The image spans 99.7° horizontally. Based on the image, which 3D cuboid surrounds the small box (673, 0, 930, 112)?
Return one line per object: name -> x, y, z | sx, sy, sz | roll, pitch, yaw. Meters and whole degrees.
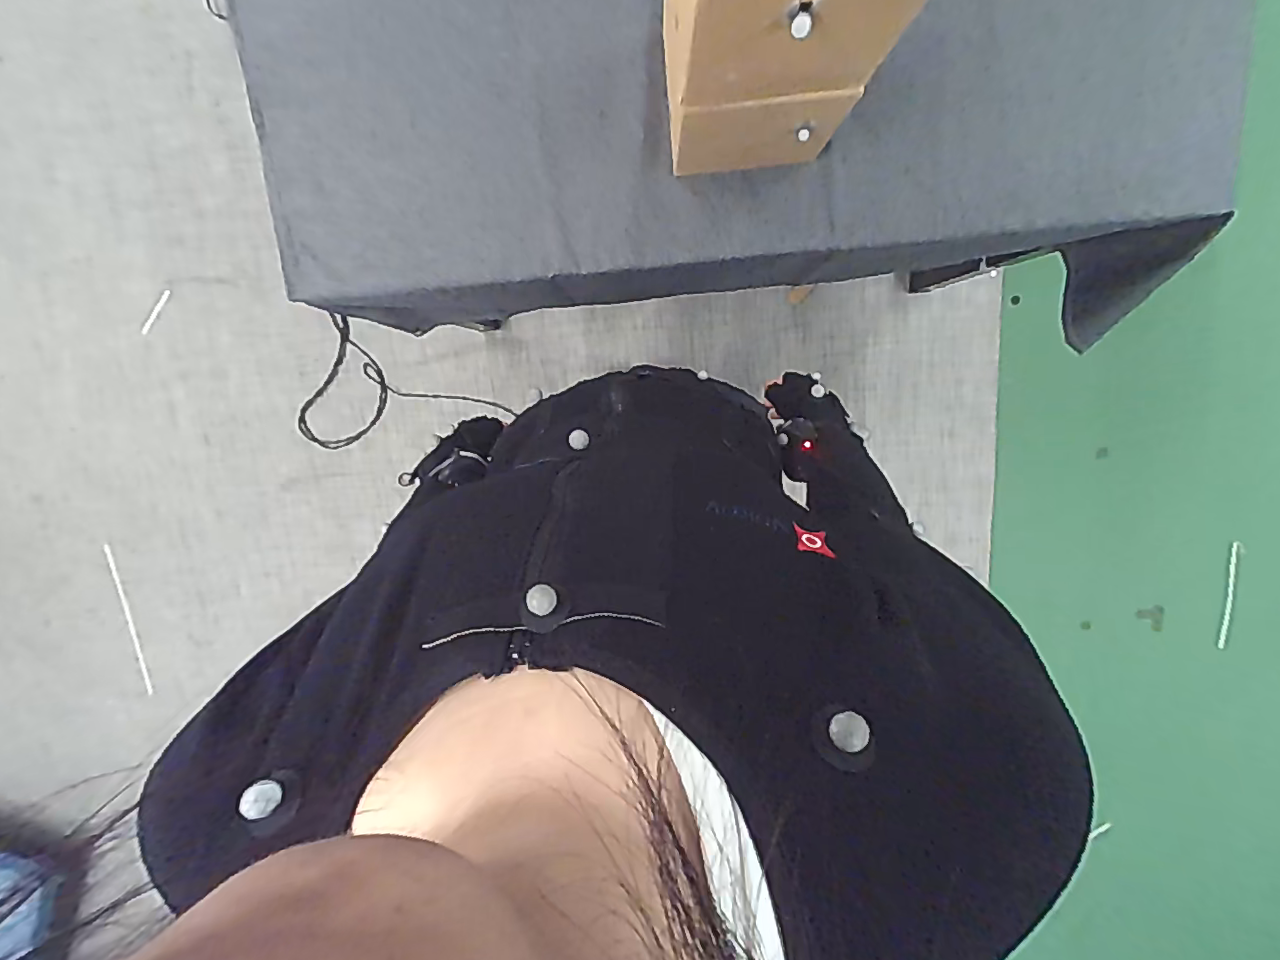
small box -> 0.118, -0.425, 0.425 | 0.179, 0.176, 0.168 | -6, 100, 3
